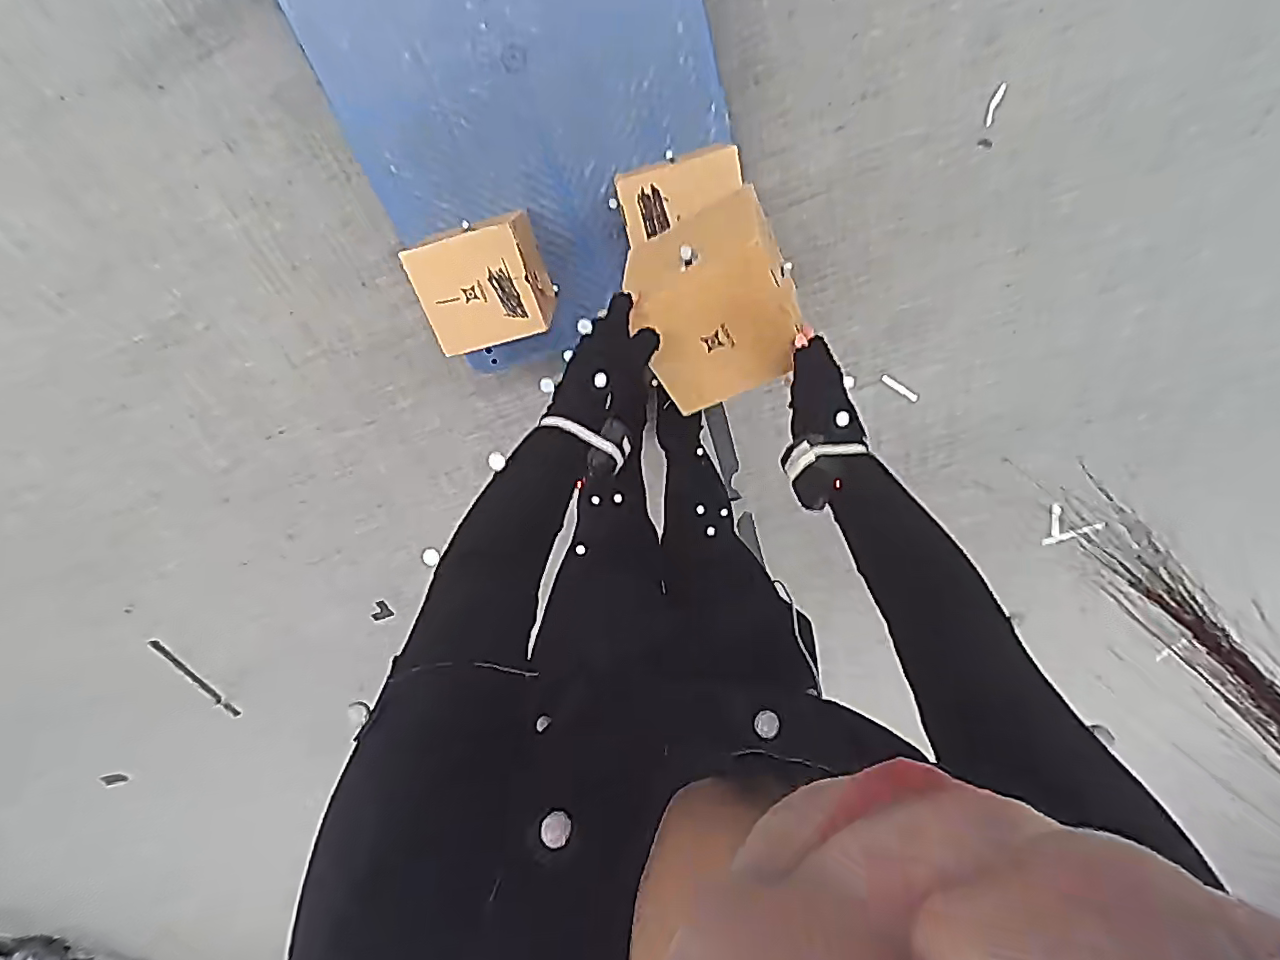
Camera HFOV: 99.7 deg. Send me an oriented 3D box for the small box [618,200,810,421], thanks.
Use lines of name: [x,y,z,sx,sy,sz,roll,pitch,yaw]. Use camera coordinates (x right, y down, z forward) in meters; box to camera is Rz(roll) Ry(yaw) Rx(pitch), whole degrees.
small box: [0.093,-0.210,0.680,0.179,0.176,0.168,-21,131,24]

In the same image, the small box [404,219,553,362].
small box: [-0.251,-0.319,0.896,0.179,0.176,0.168,-13,121,6]
